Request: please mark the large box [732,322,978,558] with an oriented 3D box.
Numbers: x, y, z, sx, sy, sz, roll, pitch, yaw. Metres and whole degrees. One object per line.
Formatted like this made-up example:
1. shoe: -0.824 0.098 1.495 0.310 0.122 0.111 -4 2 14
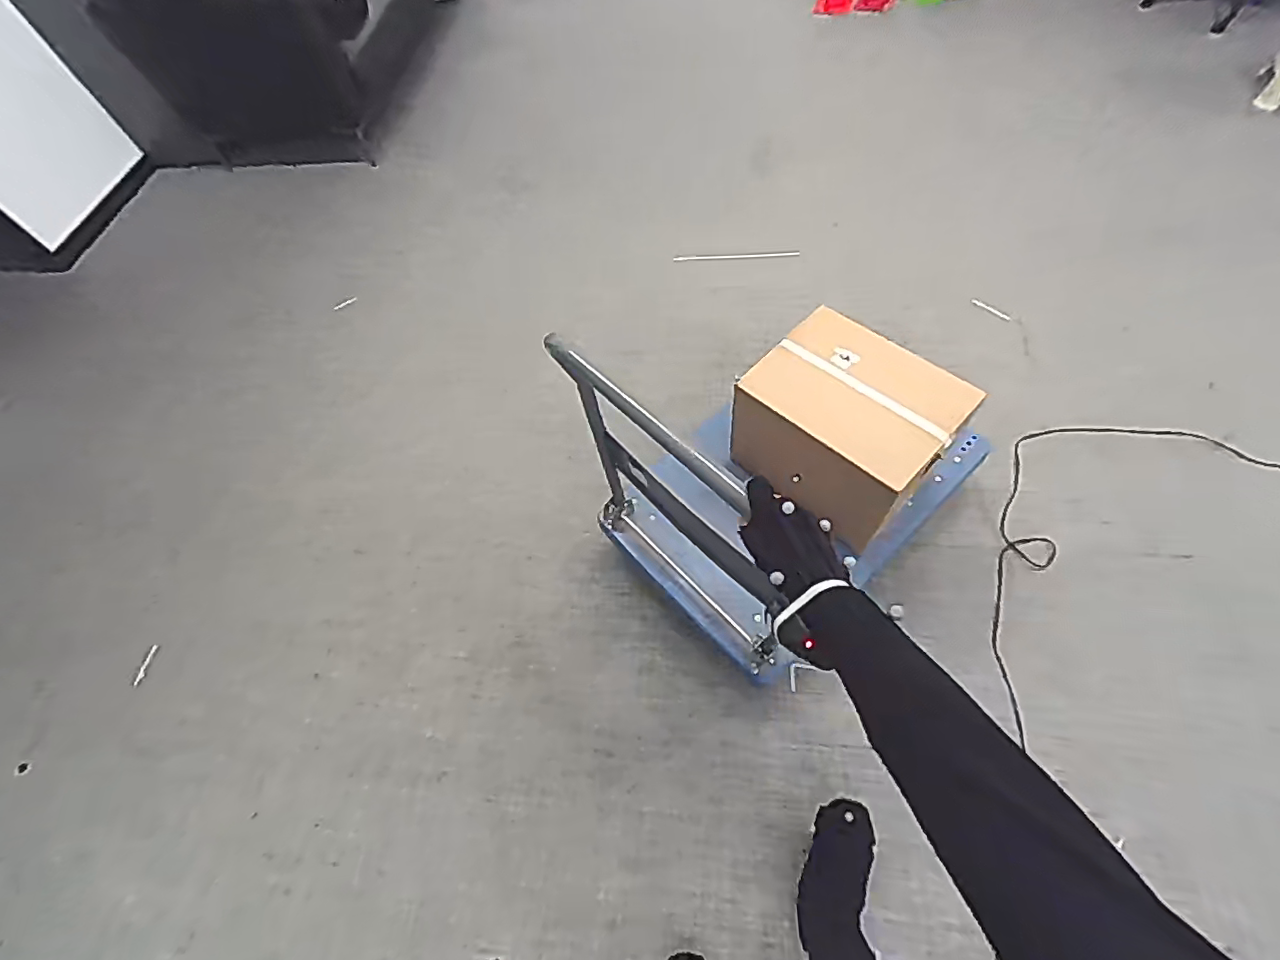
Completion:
1. large box: 0.470 -0.091 1.272 0.320 0.320 0.408 -41 62 -18
